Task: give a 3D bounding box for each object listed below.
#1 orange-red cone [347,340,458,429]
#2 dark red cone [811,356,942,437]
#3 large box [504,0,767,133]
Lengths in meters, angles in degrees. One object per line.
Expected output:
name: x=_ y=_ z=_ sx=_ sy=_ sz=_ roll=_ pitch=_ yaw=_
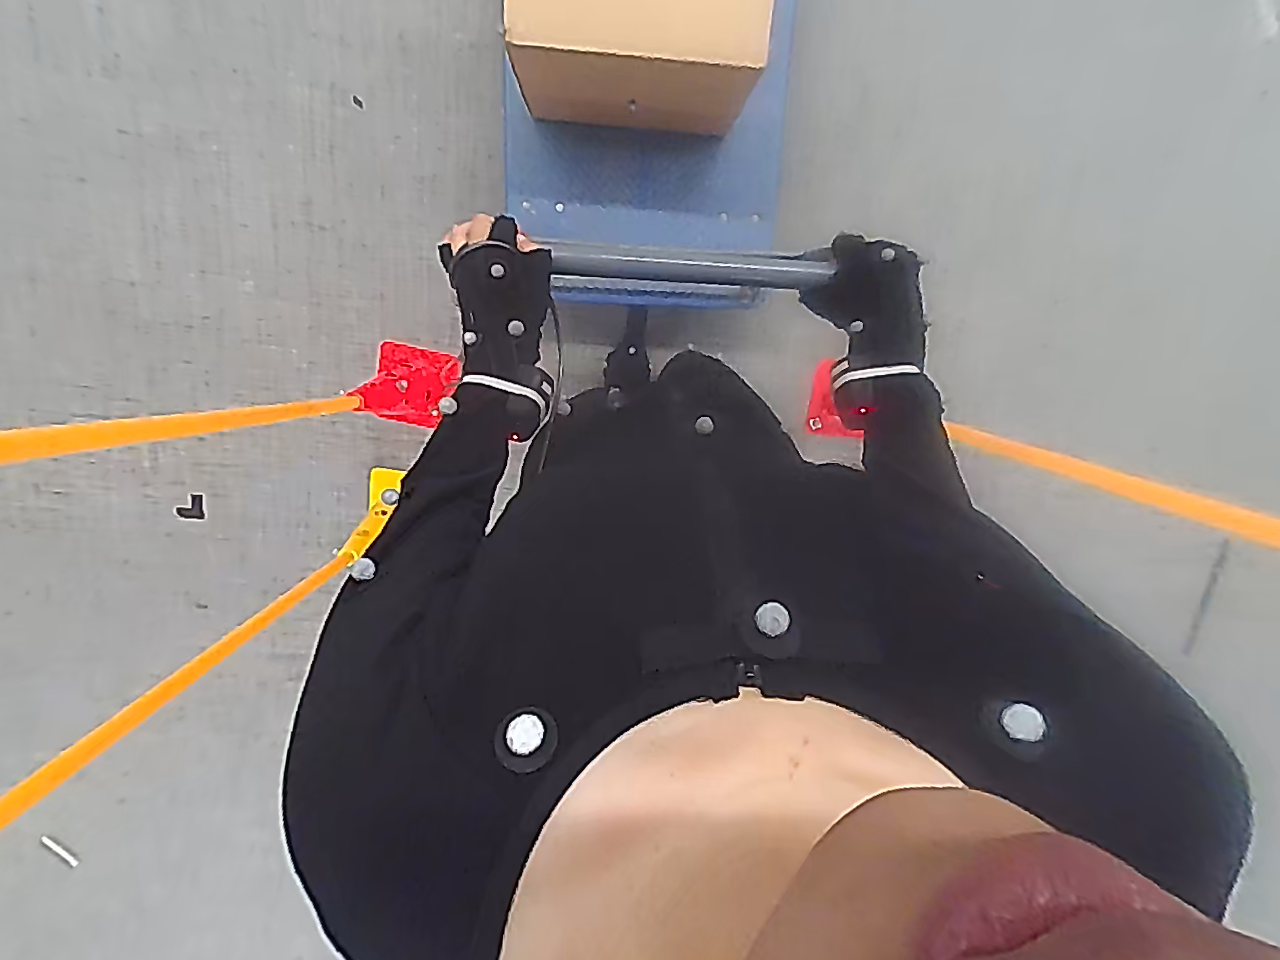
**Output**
orange-red cone: x=-0.564 y=-0.203 z=1.219 sx=0.198 sy=0.360 sz=0.199 roll=13 pitch=102 yaw=-7
dark red cone: x=0.569 y=-0.178 z=1.265 sx=0.201 sy=0.394 sz=0.202 roll=5 pitch=104 yaw=-6
large box: x=-0.006 y=-0.832 z=0.937 sx=0.408 sy=0.320 sz=0.320 roll=3 pitch=105 yaw=-3
